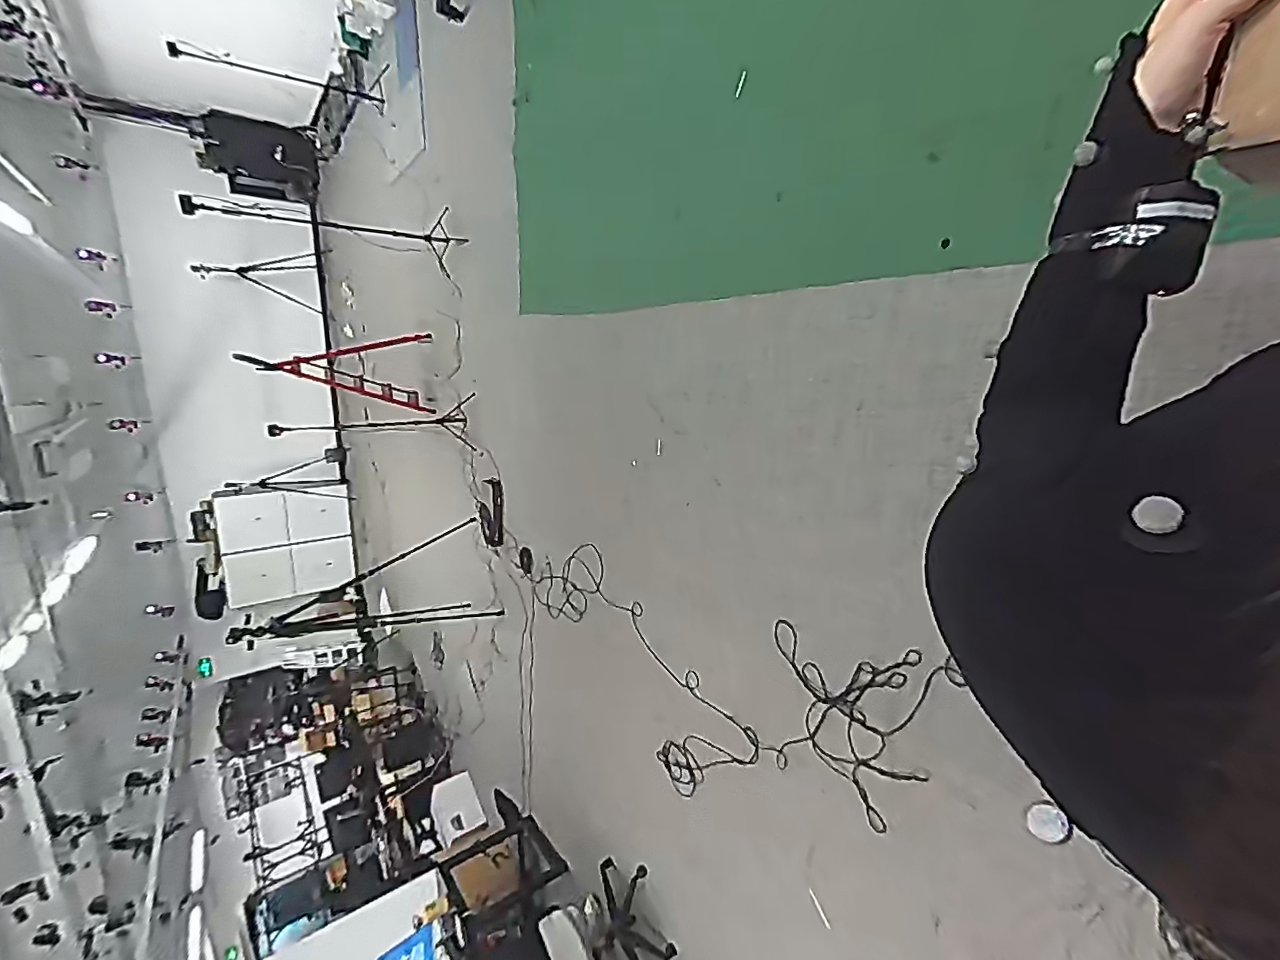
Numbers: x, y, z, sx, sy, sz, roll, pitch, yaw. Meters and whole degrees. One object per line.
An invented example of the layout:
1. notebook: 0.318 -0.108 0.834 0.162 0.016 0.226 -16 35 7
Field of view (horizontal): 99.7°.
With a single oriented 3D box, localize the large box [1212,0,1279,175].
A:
1. large box: 0.633 -0.368 0.262 0.408 0.320 0.320 21 118 52
